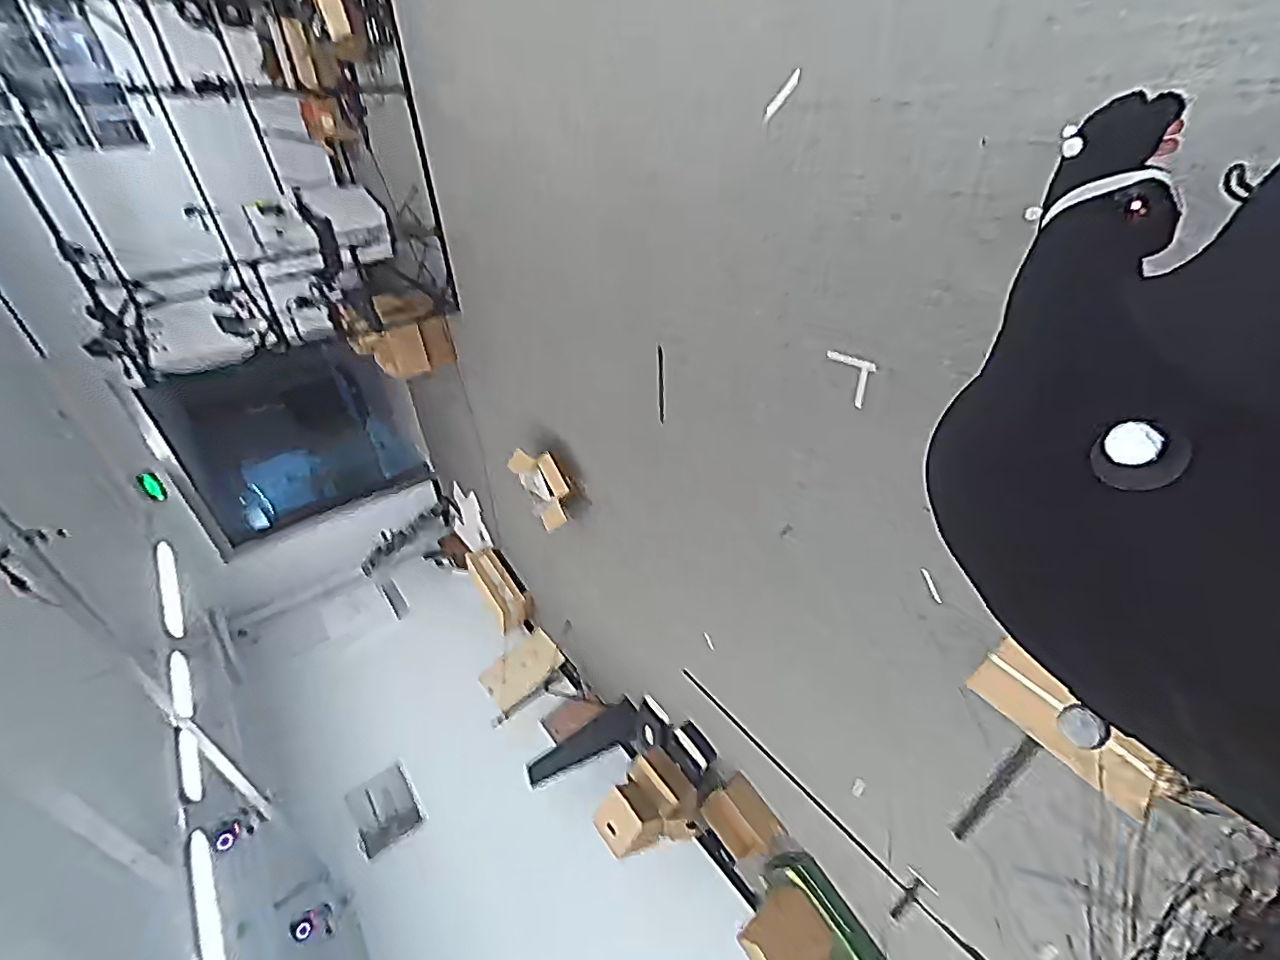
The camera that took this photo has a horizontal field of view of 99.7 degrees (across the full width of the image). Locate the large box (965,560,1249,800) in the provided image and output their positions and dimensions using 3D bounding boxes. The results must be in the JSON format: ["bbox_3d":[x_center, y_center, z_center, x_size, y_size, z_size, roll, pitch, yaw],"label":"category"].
[{"bbox_3d":[1.143,0.482,1.362,0.408,0.320,0.320,41,144,33],"label":"large box"}]
